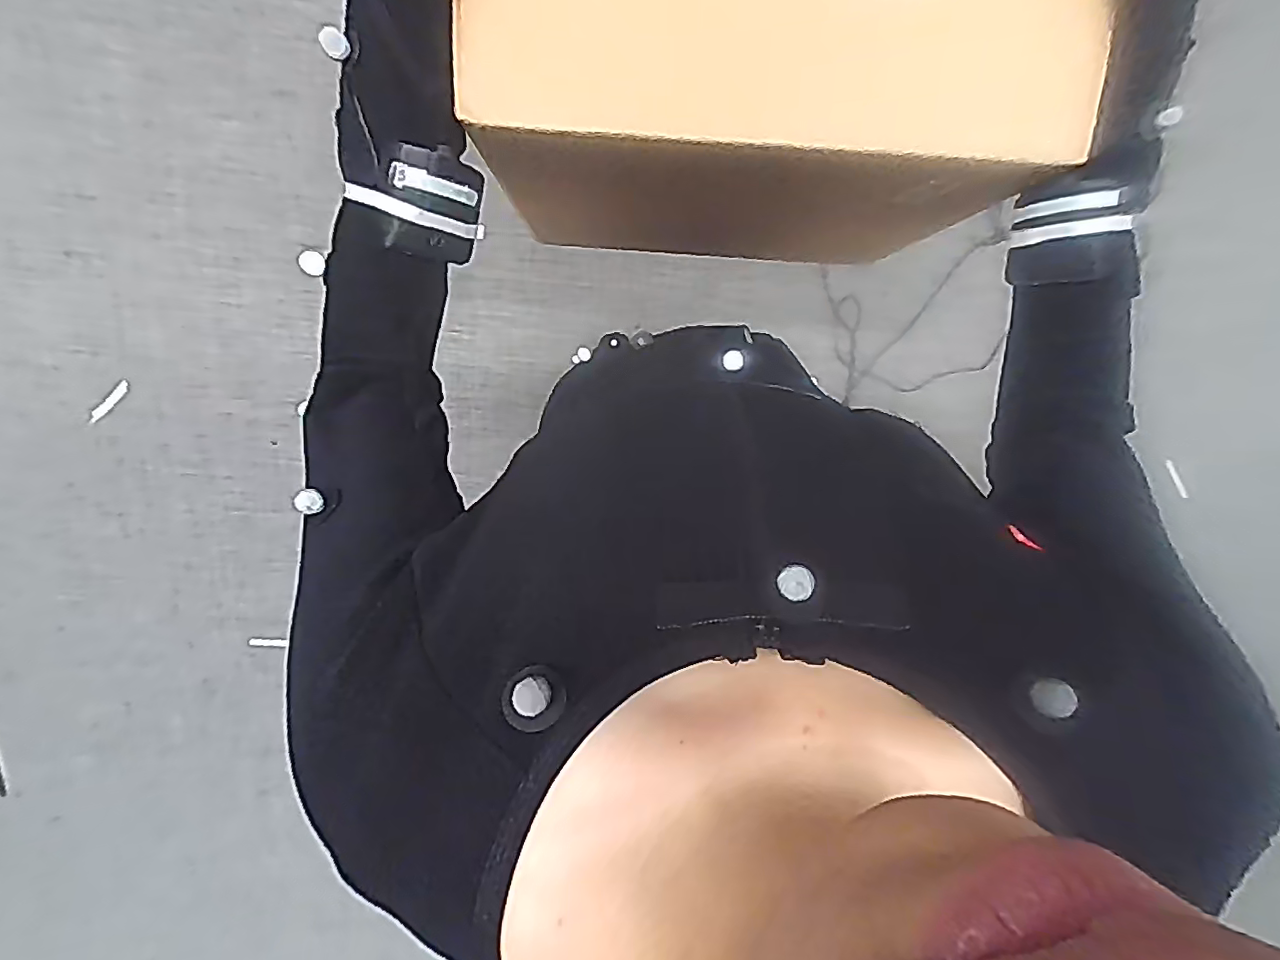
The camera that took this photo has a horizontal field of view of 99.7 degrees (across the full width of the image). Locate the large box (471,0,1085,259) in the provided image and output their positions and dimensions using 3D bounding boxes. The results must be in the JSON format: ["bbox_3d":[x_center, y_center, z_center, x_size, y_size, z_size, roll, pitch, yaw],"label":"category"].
[{"bbox_3d":[0.086,-0.398,0.481,0.408,0.320,0.320,2,100,-3],"label":"large box"}]
